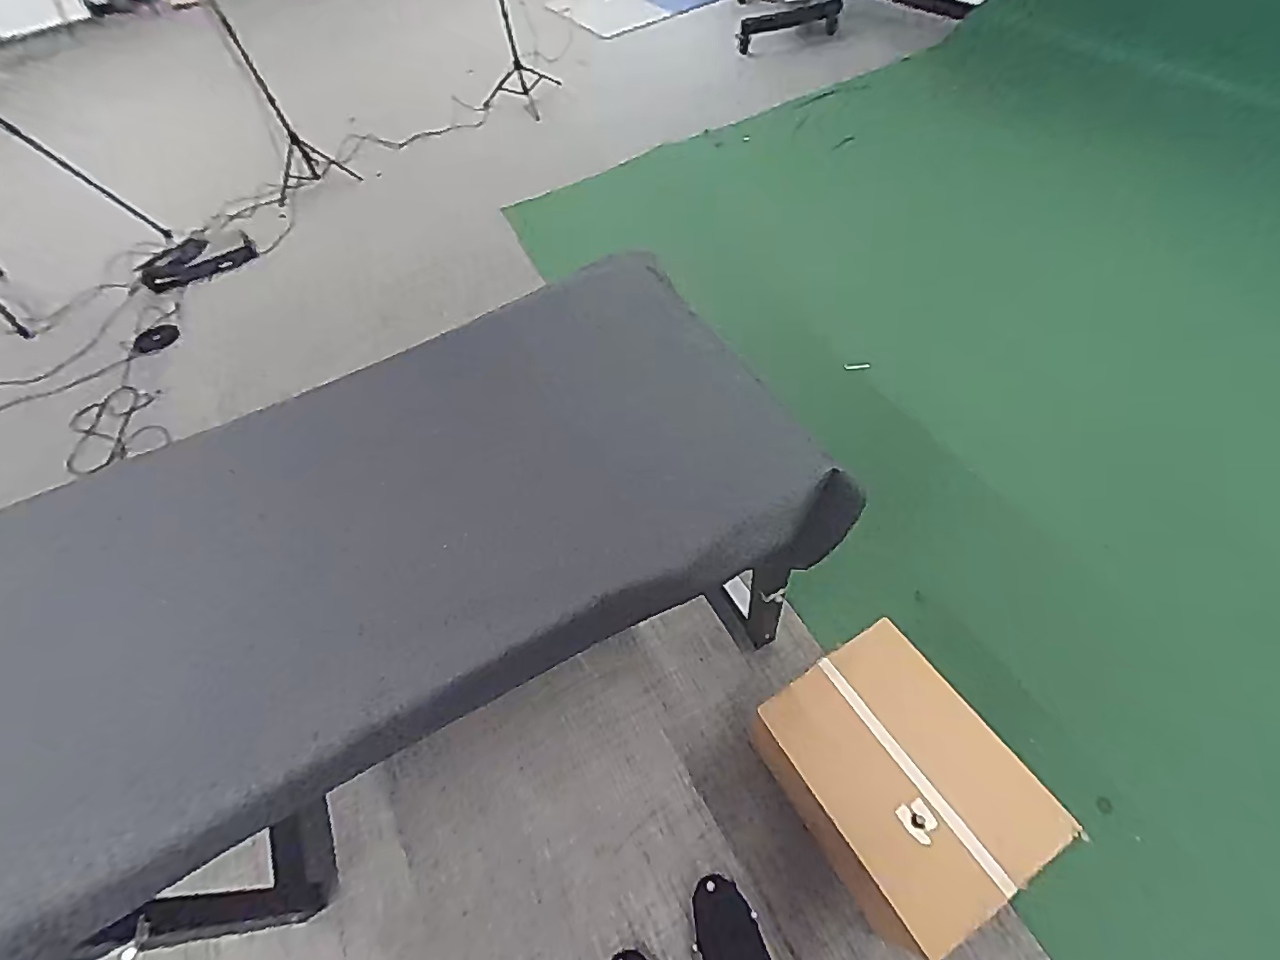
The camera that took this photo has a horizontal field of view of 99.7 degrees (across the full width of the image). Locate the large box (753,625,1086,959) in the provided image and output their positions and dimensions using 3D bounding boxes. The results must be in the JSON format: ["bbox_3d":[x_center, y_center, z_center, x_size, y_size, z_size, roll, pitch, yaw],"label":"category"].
[{"bbox_3d":[0.461,0.560,1.009,0.320,0.320,0.408,-30,57,-12],"label":"large box"}]
